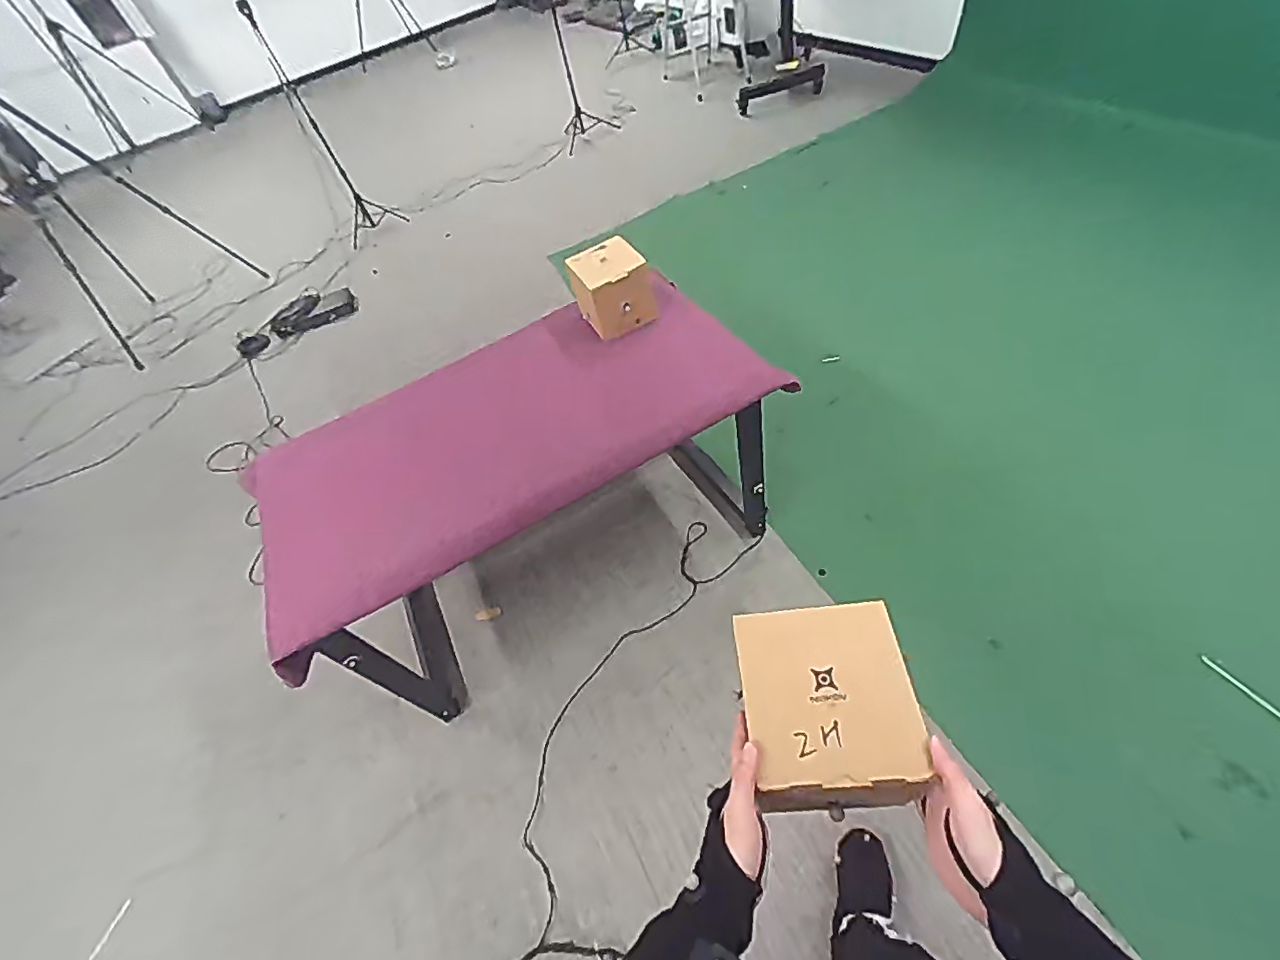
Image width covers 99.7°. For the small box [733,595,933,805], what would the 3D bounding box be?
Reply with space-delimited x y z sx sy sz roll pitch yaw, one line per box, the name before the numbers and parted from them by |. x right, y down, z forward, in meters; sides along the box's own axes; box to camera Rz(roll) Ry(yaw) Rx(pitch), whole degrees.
small box | 0.198 0.251 0.610 0.168 0.176 0.179 -8 51 8

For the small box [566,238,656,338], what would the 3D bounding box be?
small box | -0.072 -0.506 1.448 0.168 0.176 0.179 -28 54 -8
